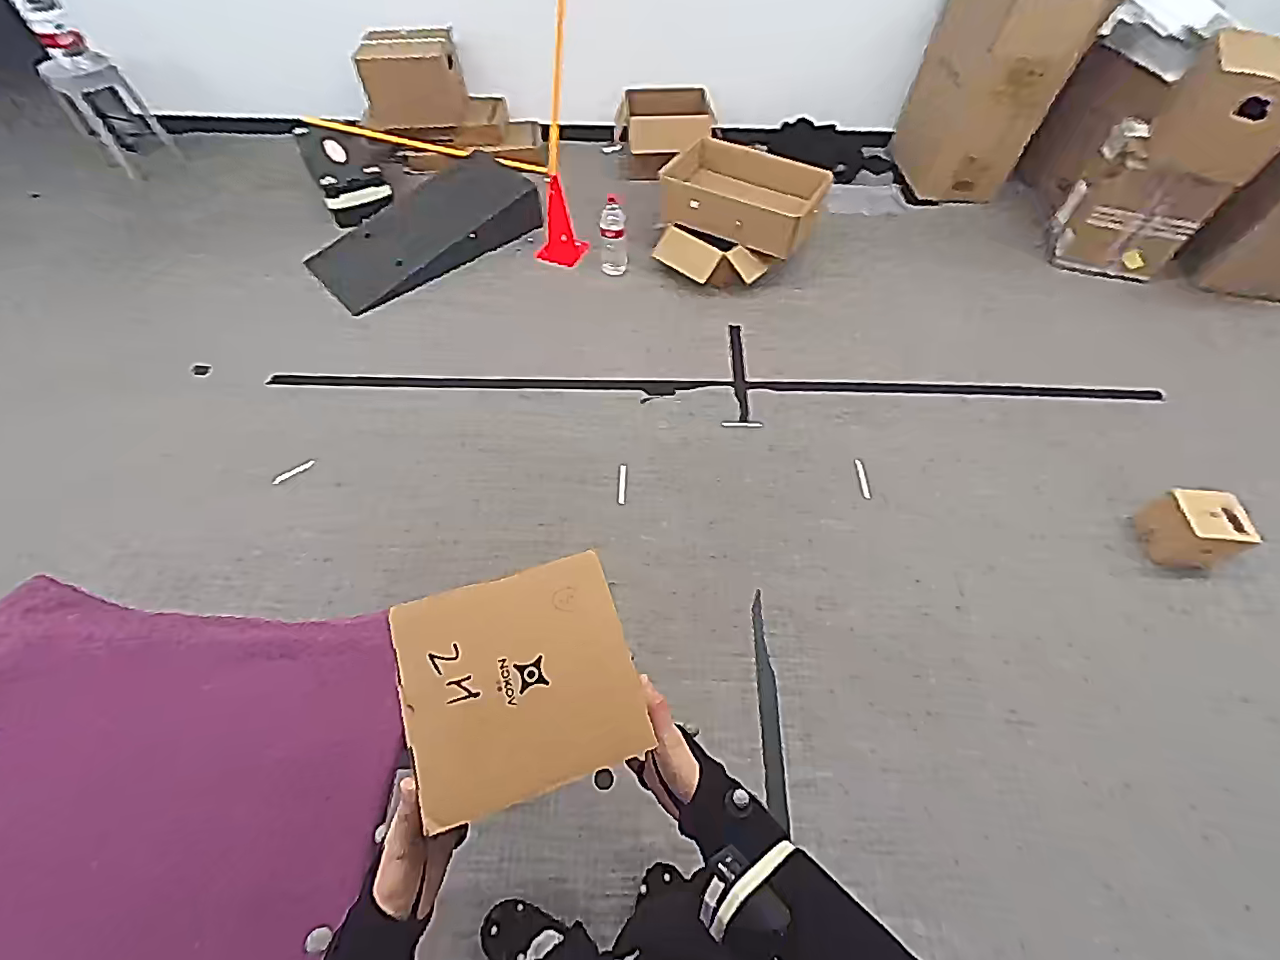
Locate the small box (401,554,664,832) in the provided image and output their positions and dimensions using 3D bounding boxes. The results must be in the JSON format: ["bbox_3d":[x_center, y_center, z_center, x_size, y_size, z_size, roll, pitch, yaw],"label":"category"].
[{"bbox_3d":[-0.096,0.185,0.494,0.179,0.176,0.168,-14,68,-13],"label":"small box"}]
